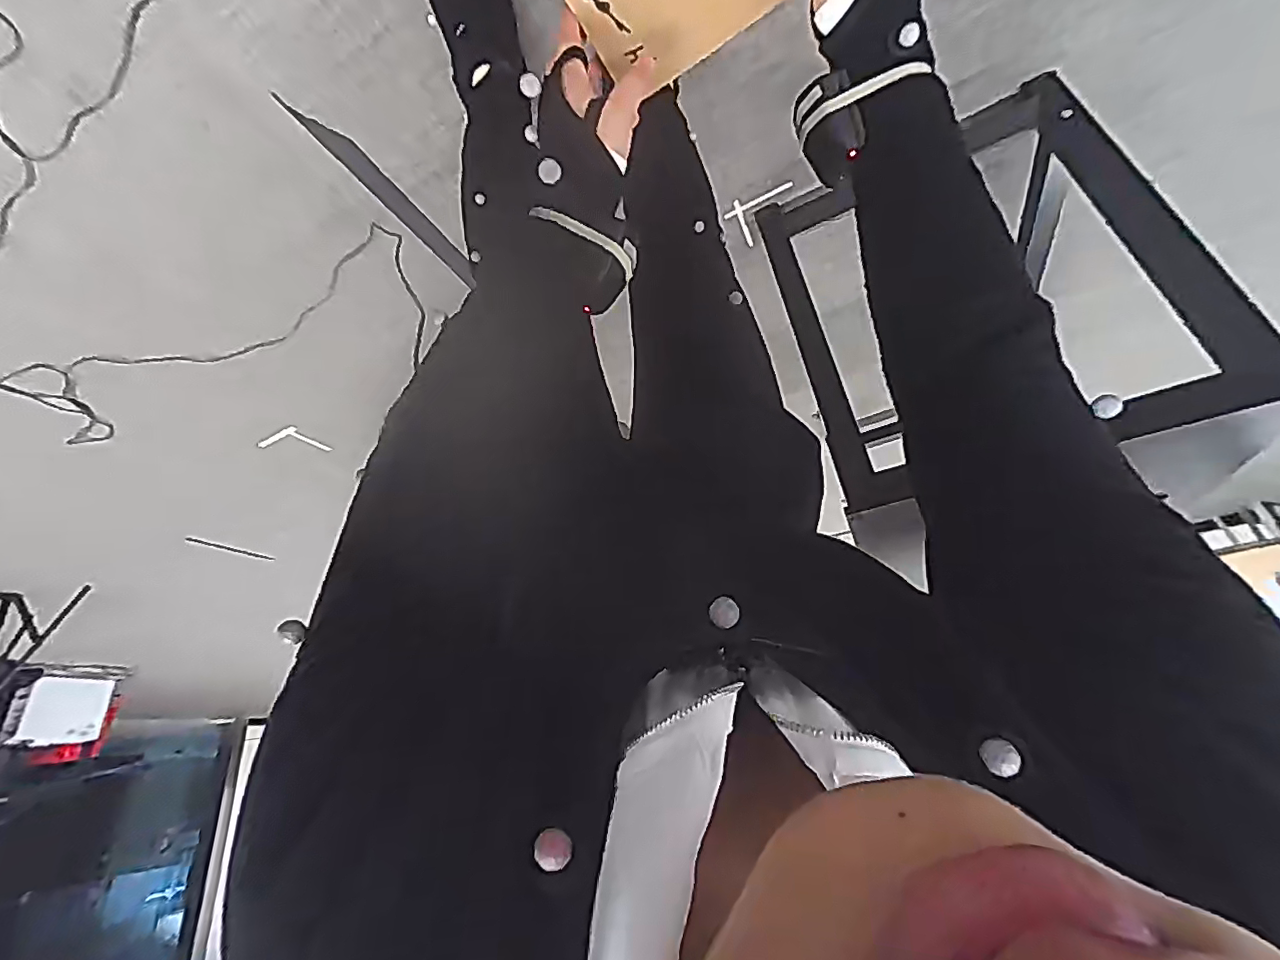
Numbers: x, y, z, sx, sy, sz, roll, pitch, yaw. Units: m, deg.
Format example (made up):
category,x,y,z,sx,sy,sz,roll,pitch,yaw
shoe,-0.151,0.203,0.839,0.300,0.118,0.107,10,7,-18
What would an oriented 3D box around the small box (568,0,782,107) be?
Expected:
category,x,y,z,sx,sy,sz,roll,pitch,yaw
small box,0.012,-0.459,0.422,0.179,0.176,0.168,-22,150,23
